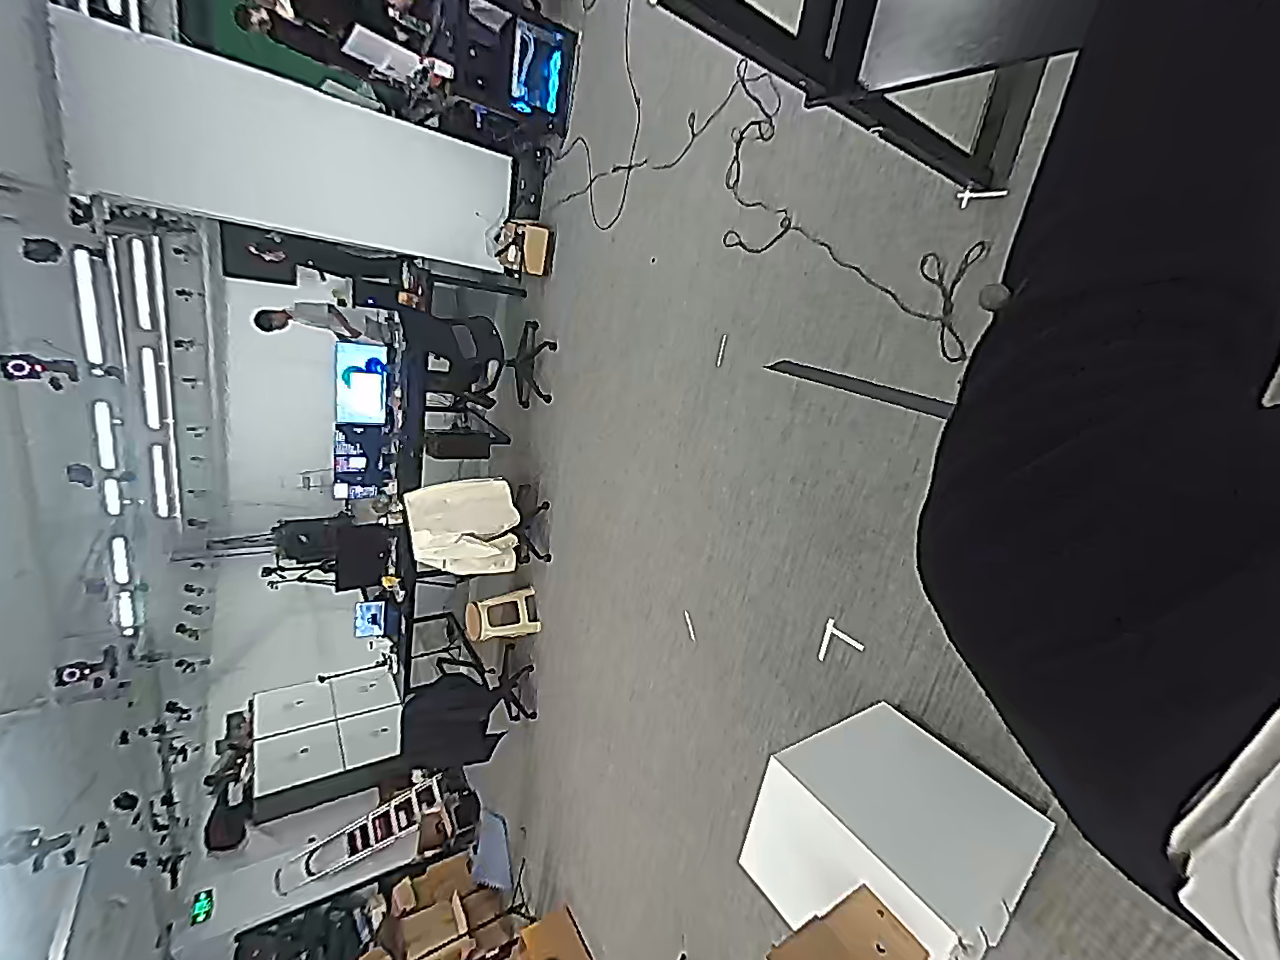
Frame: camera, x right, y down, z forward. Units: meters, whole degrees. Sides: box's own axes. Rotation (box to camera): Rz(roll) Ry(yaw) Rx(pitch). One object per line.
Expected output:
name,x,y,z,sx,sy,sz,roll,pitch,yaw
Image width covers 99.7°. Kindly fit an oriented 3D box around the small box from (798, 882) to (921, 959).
small box,0.480,1.037,1.179,0.168,0.176,0.179,32,118,49
